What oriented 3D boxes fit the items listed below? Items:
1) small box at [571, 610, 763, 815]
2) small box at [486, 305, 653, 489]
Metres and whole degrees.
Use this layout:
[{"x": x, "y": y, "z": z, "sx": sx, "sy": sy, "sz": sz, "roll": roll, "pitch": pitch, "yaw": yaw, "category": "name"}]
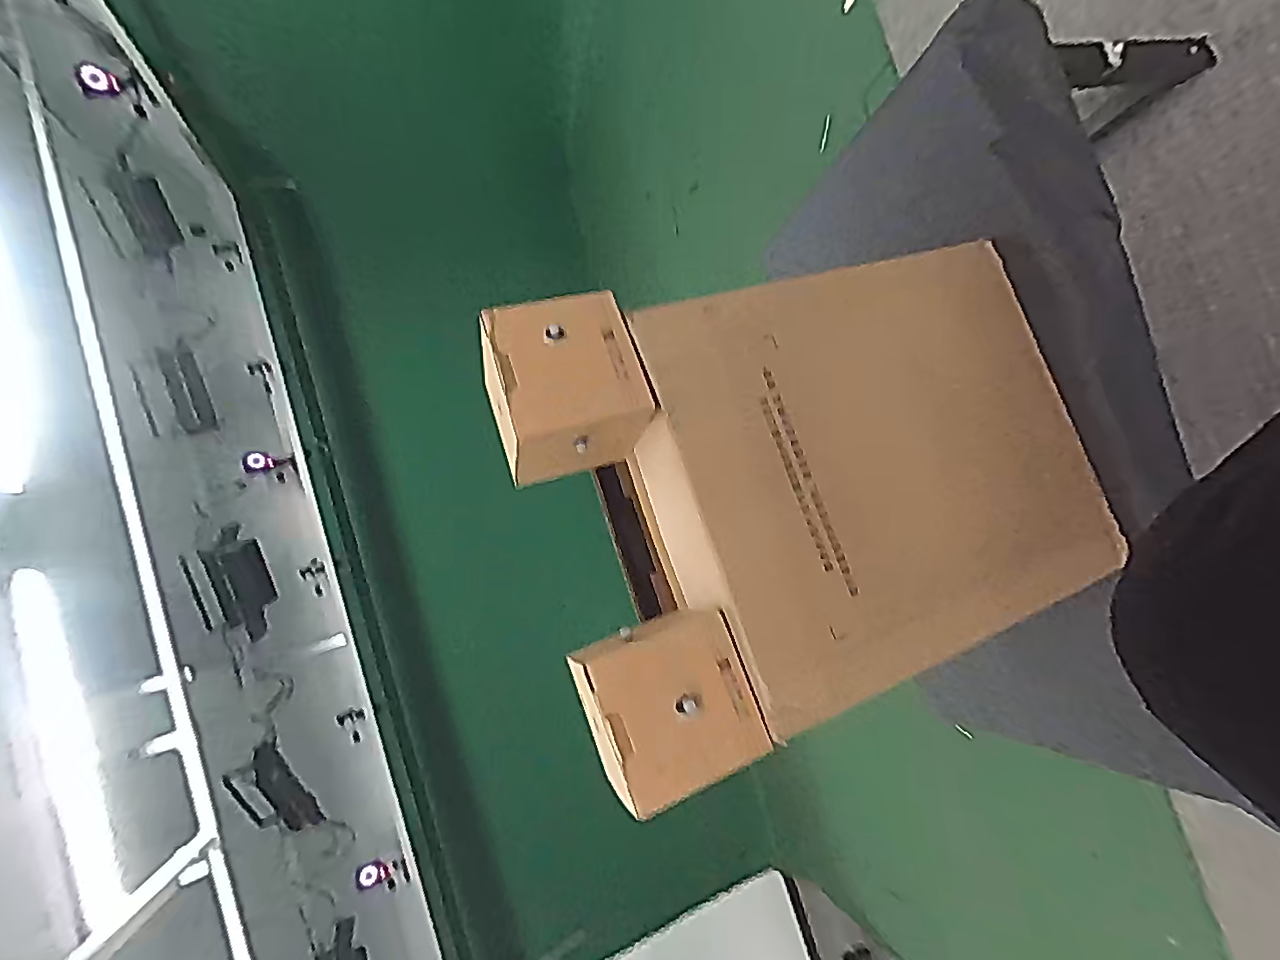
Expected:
[{"x": 0.030, "y": 0.269, "z": 0.670, "sx": 0.179, "sy": 0.176, "sz": 0.168, "roll": 132, "pitch": 119, "yaw": -69, "category": "small box"}, {"x": -0.094, "y": -0.107, "z": 0.711, "sx": 0.179, "sy": 0.176, "sz": 0.168, "roll": 122, "pitch": 132, "yaw": -68, "category": "small box"}]
